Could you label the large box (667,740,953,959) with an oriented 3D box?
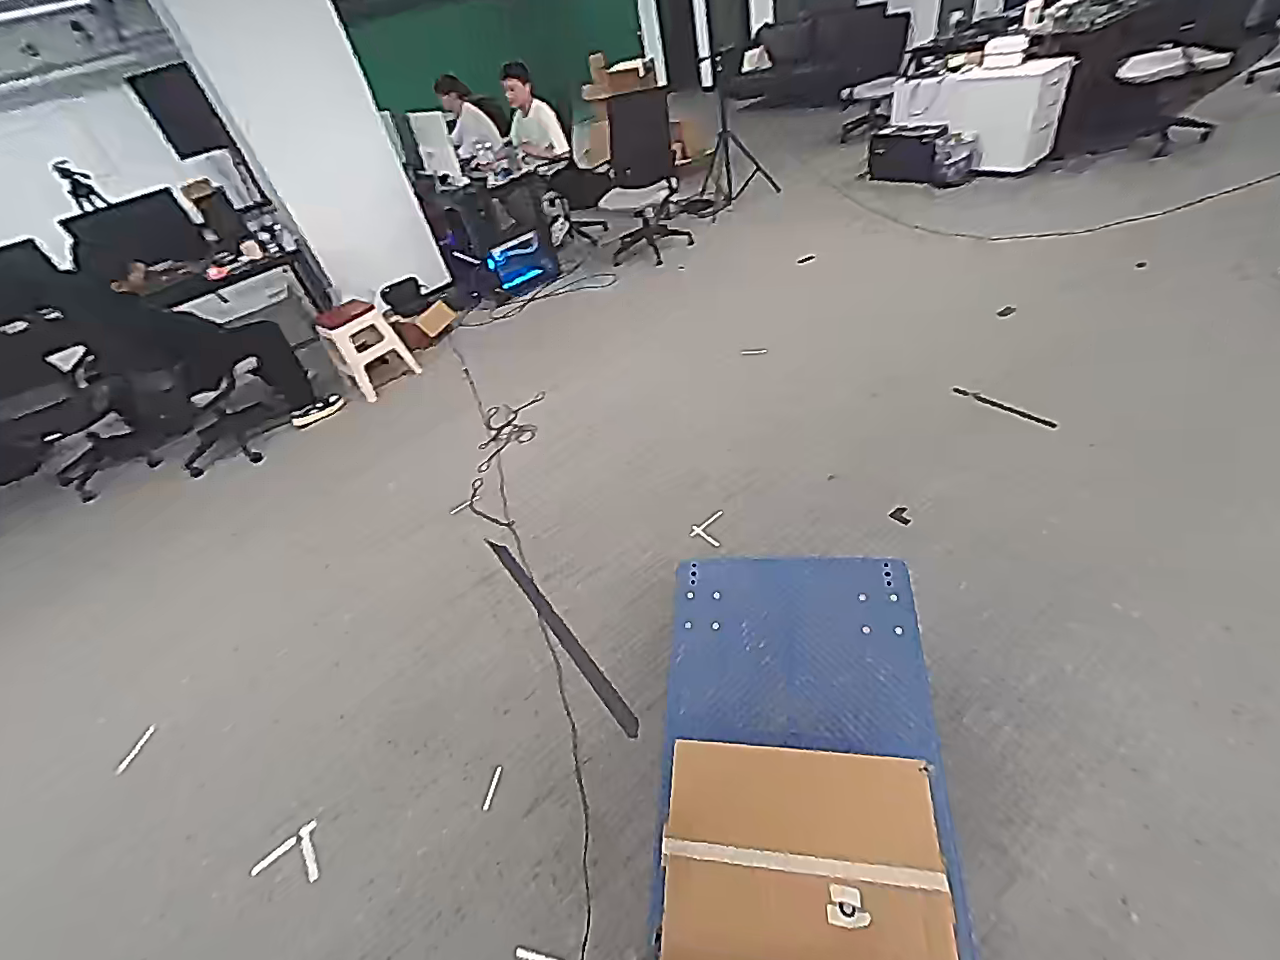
[{"bbox_3d":[0.276,0.666,0.955,0.408,0.320,0.320,-2,56,14],"label":"large box"}]
